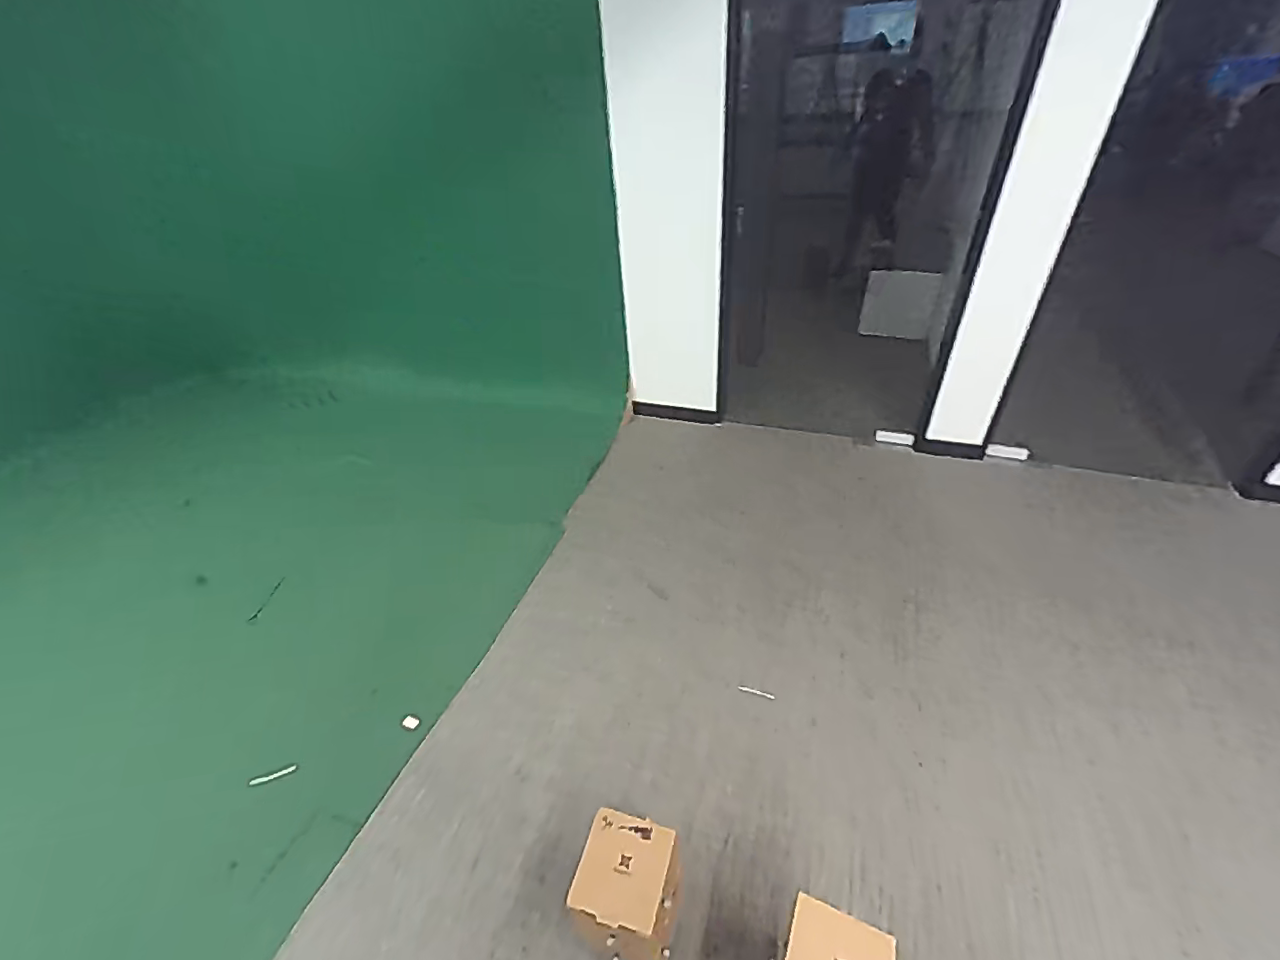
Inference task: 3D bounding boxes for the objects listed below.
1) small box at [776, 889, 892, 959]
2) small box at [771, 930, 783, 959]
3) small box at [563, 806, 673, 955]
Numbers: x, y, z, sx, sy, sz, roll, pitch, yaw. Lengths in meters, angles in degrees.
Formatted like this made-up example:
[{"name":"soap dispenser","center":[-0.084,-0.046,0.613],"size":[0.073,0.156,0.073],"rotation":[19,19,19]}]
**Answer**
[{"name":"small box","center":[0.324,0.870,0.938],"size":[0.168,0.176,0.179],"rotation":[14,42,22]},{"name":"small box","center":[0.329,1.000,1.038],"size":[0.168,0.176,0.179],"rotation":[15,43,23]},{"name":"small box","center":[-0.032,0.791,1.068],"size":[0.168,0.176,0.179],"rotation":[9,41,16]}]
